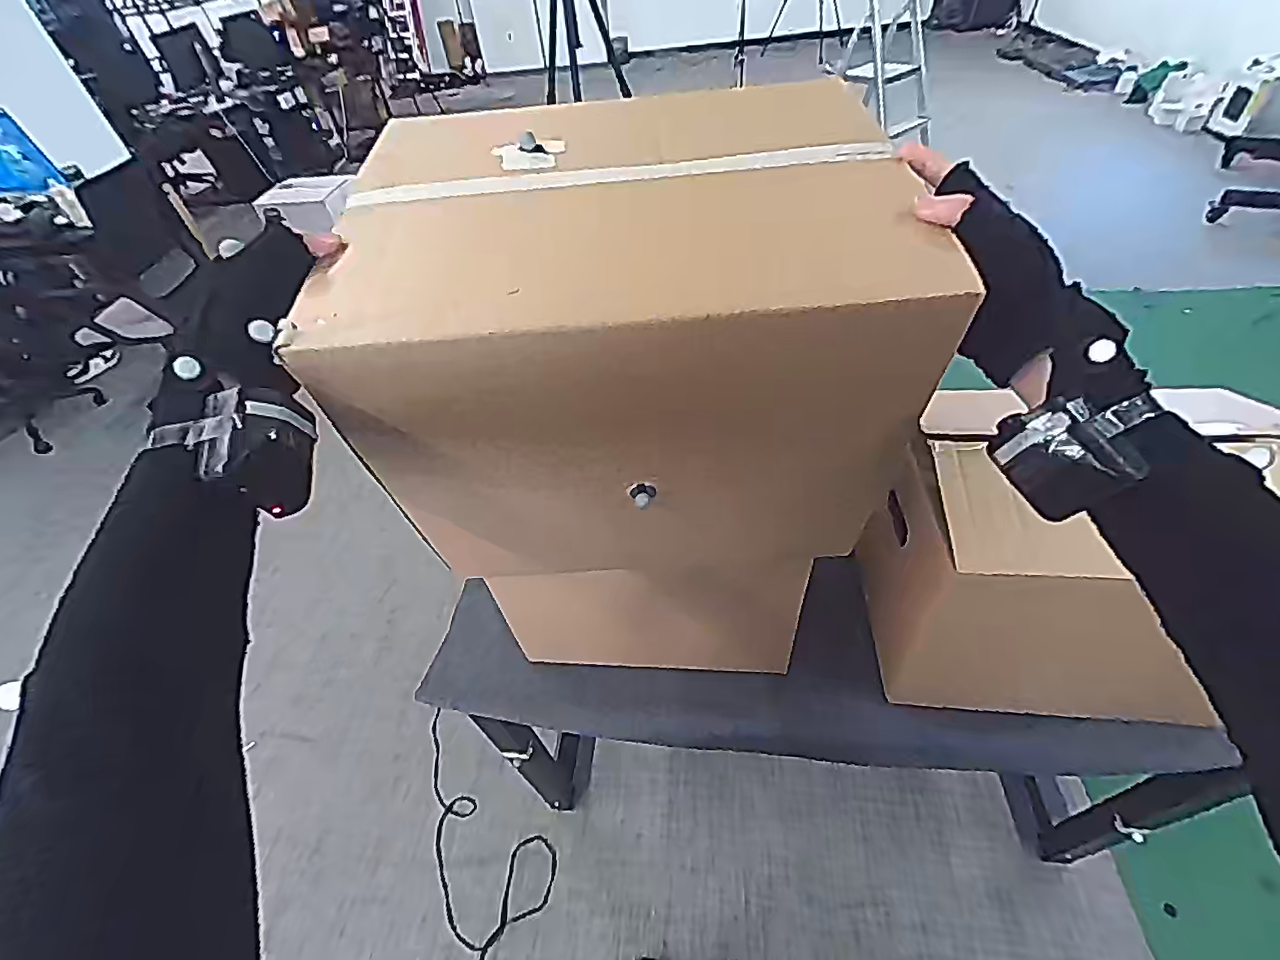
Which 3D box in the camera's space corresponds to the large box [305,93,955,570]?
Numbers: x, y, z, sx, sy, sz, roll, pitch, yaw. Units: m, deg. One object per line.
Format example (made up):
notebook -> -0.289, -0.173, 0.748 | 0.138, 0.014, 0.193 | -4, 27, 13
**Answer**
large box -> -0.003, -0.124, 0.530 | 0.408, 0.320, 0.320 | -4, 54, 2
